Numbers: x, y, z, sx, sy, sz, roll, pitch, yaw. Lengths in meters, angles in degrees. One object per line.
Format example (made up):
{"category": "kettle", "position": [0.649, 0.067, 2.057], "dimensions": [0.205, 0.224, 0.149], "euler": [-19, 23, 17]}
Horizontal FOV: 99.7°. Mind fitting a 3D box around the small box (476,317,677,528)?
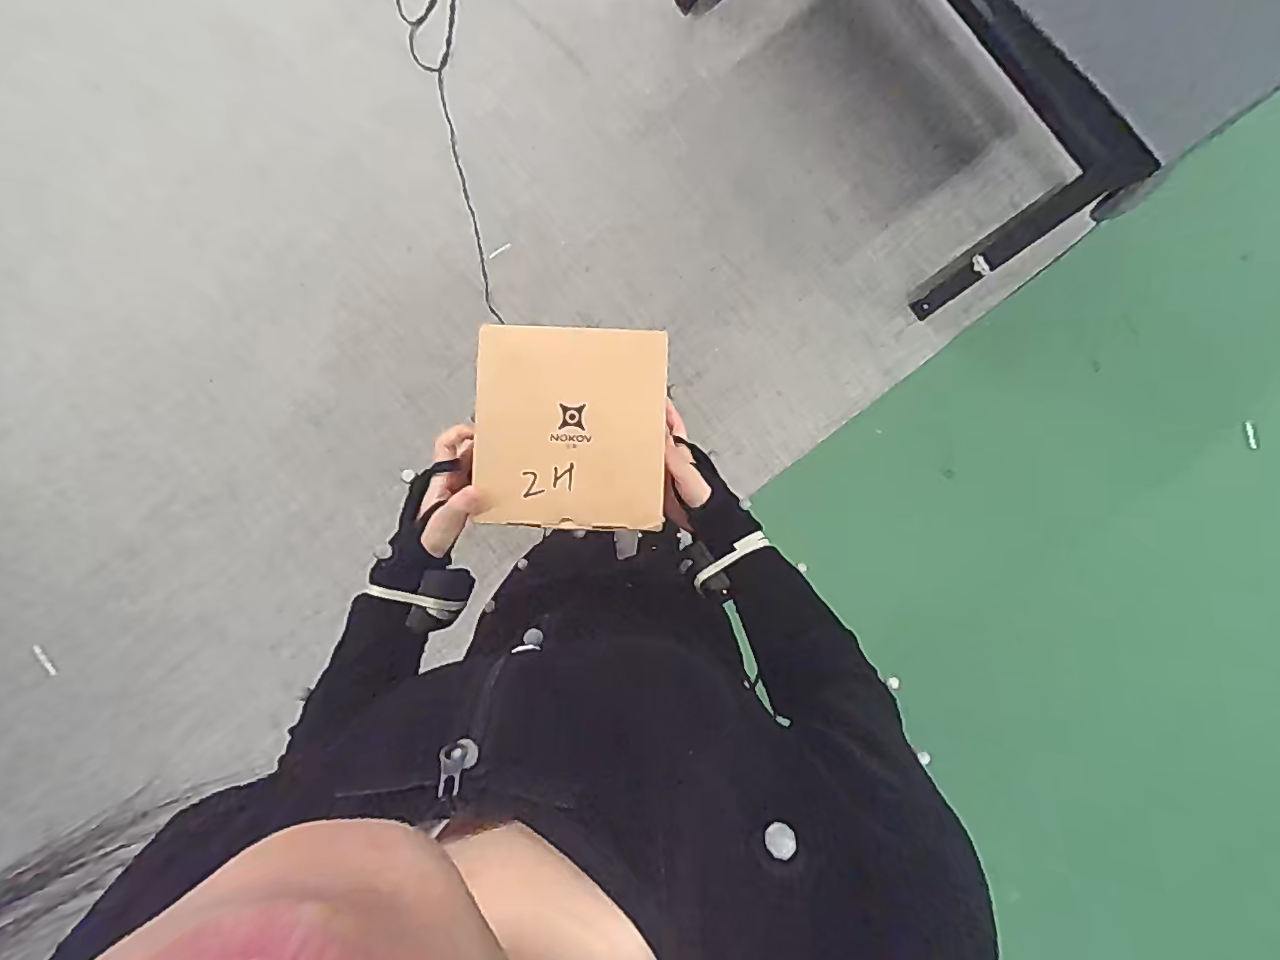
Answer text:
{"category": "small box", "position": [-0.055, -0.044, 0.534], "dimensions": [0.168, 0.176, 0.179], "euler": [1, 87, -2]}
